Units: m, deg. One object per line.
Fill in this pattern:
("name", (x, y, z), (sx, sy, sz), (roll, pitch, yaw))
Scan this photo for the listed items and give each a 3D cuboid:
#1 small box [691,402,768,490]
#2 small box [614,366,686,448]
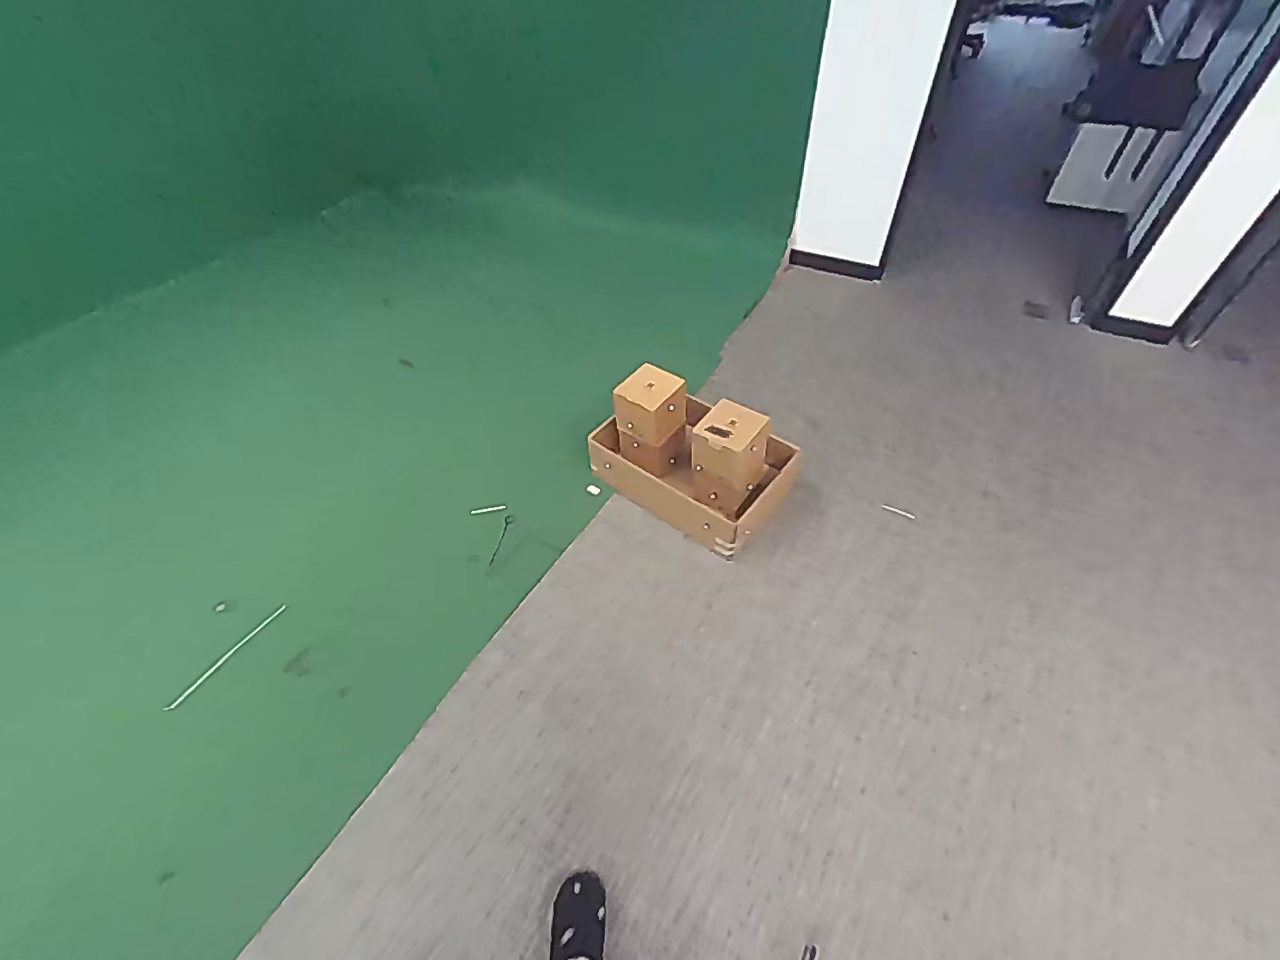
("small box", (0.270, -0.100, 1.645), (0.168, 0.176, 0.179), (29, 56, 26))
("small box", (0.034, -0.239, 1.785), (0.168, 0.176, 0.179), (31, 59, 25))
